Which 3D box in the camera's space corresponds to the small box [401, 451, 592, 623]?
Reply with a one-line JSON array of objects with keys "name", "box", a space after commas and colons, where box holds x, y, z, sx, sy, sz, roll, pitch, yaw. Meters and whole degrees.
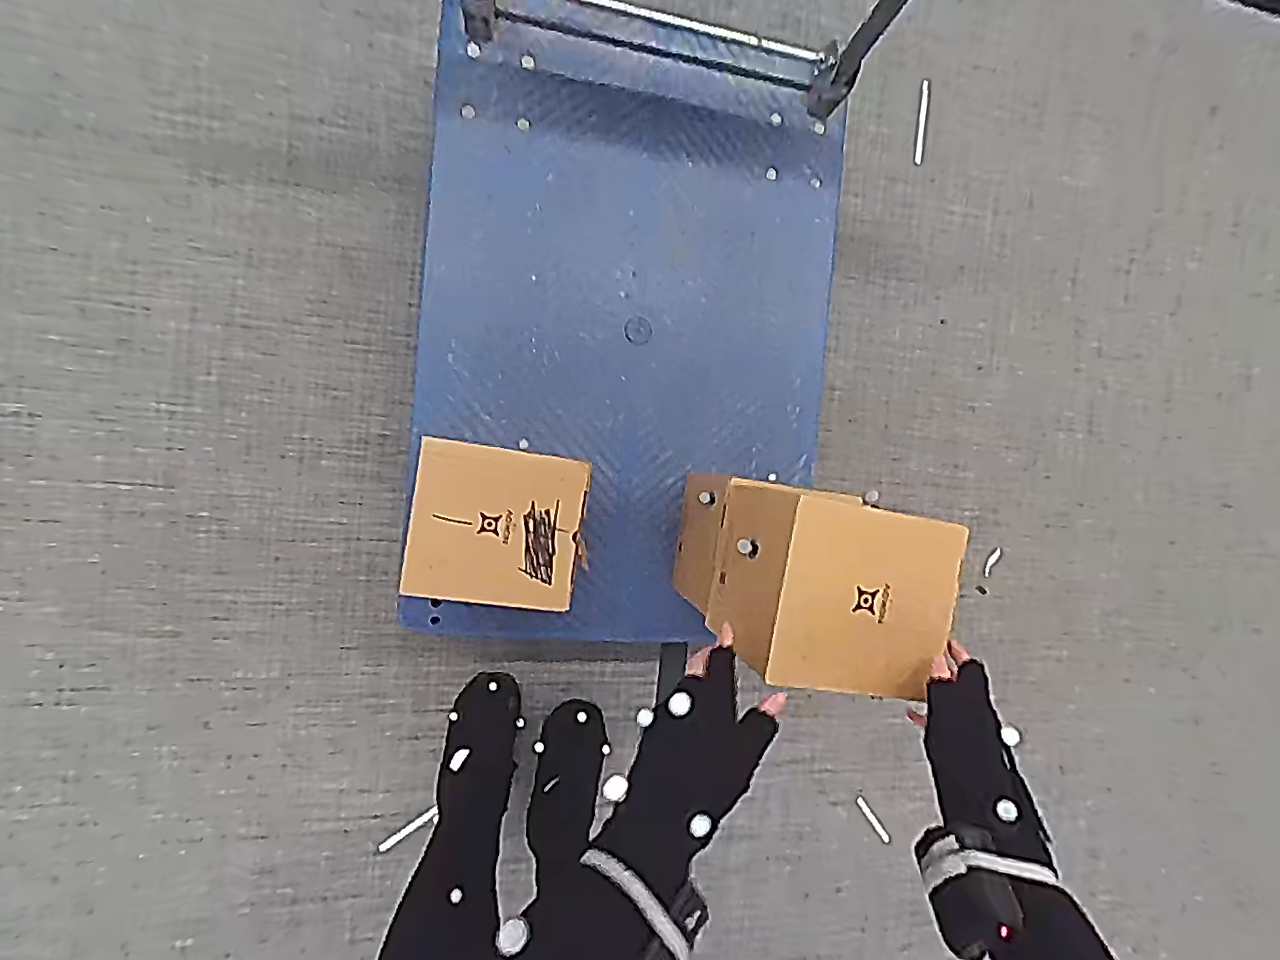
[{"name": "small box", "box": [-0.163, 0.059, 0.645, 0.179, 0.176, 0.168, 9, 90, -11]}]

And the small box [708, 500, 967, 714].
[{"name": "small box", "box": [0.184, 0.115, 0.552, 0.179, 0.176, 0.168, 11, 90, -13]}]
